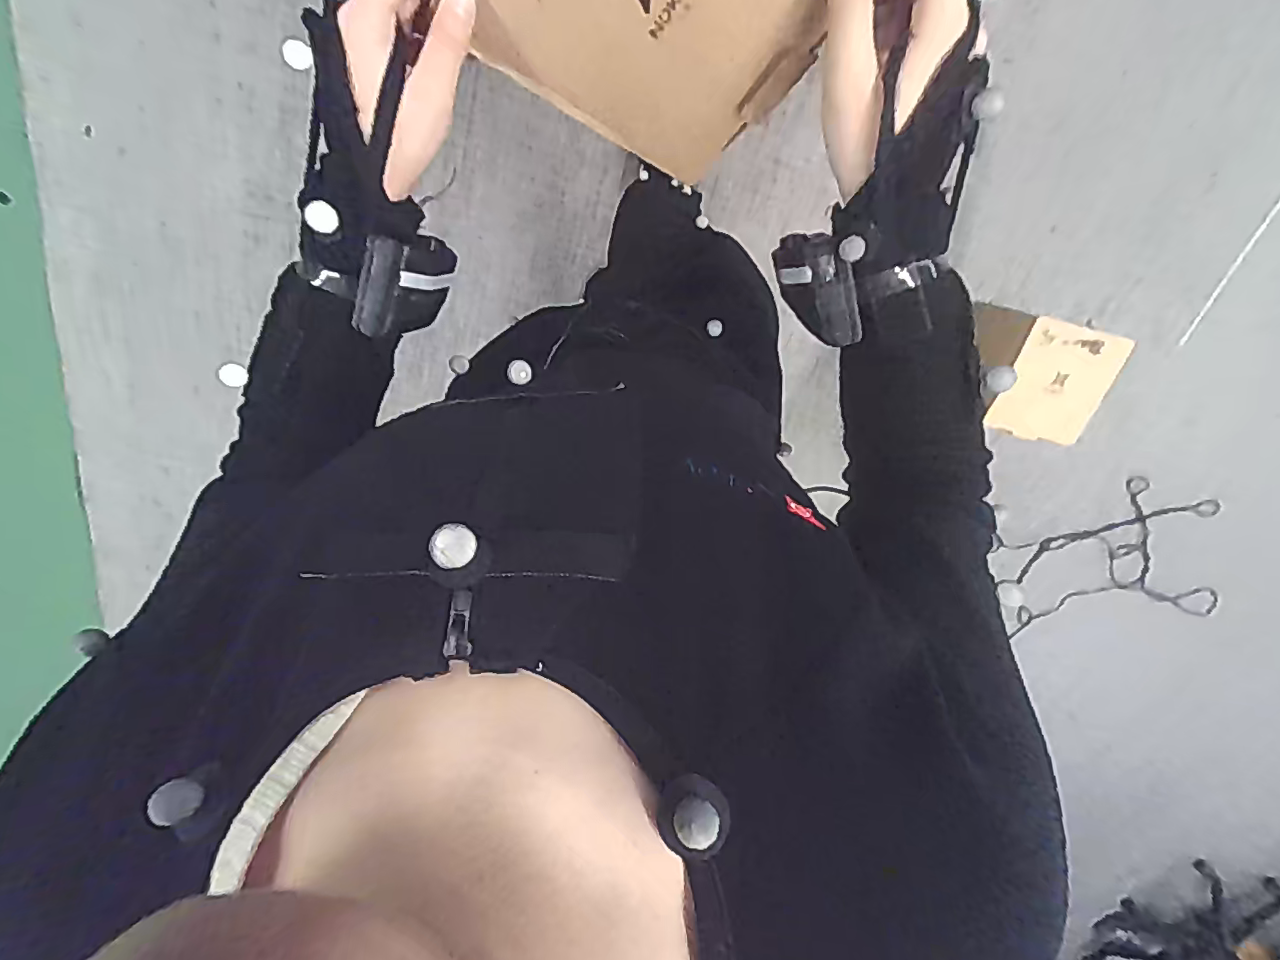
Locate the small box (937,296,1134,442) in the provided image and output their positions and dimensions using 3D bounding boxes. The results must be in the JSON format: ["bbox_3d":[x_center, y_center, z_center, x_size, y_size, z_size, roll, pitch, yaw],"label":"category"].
[{"bbox_3d":[0.631,-0.189,0.895,0.168,0.176,0.179,11,116,-7],"label":"small box"}]

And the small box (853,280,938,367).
[{"bbox_3d":[0.605,-0.335,1.188,0.179,0.176,0.168,10,114,-6],"label":"small box"}]

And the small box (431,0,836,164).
[{"bbox_3d":[0.012,-0.322,0.277,0.179,0.176,0.168,16,158,-27],"label":"small box"}]
